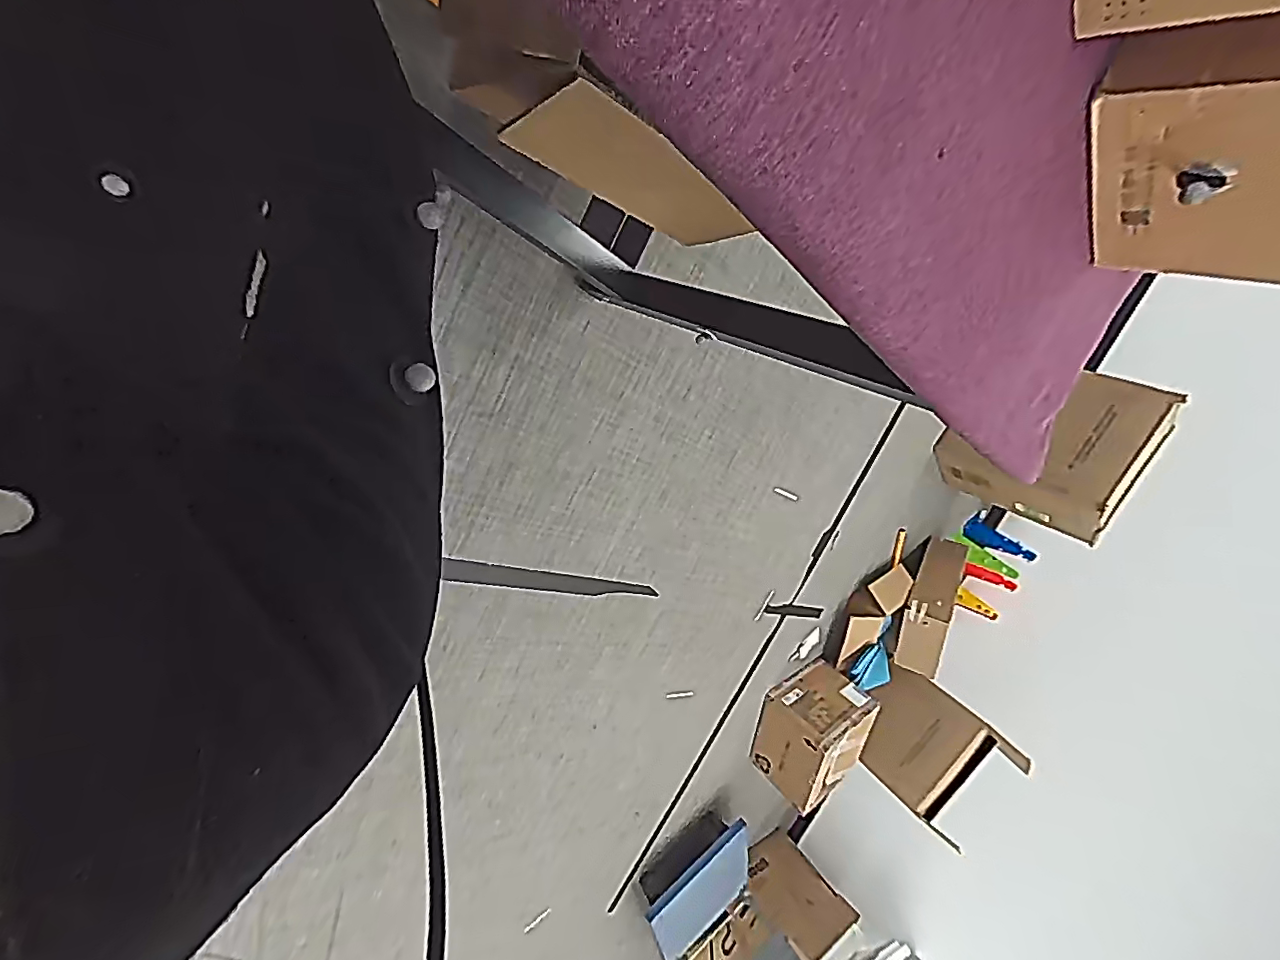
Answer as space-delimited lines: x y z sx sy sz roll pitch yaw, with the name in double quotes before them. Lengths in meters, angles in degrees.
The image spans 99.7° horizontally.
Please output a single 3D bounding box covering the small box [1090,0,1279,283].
"small box" 0.386 -0.229 0.291 0.168 0.176 0.179 24 97 -47
